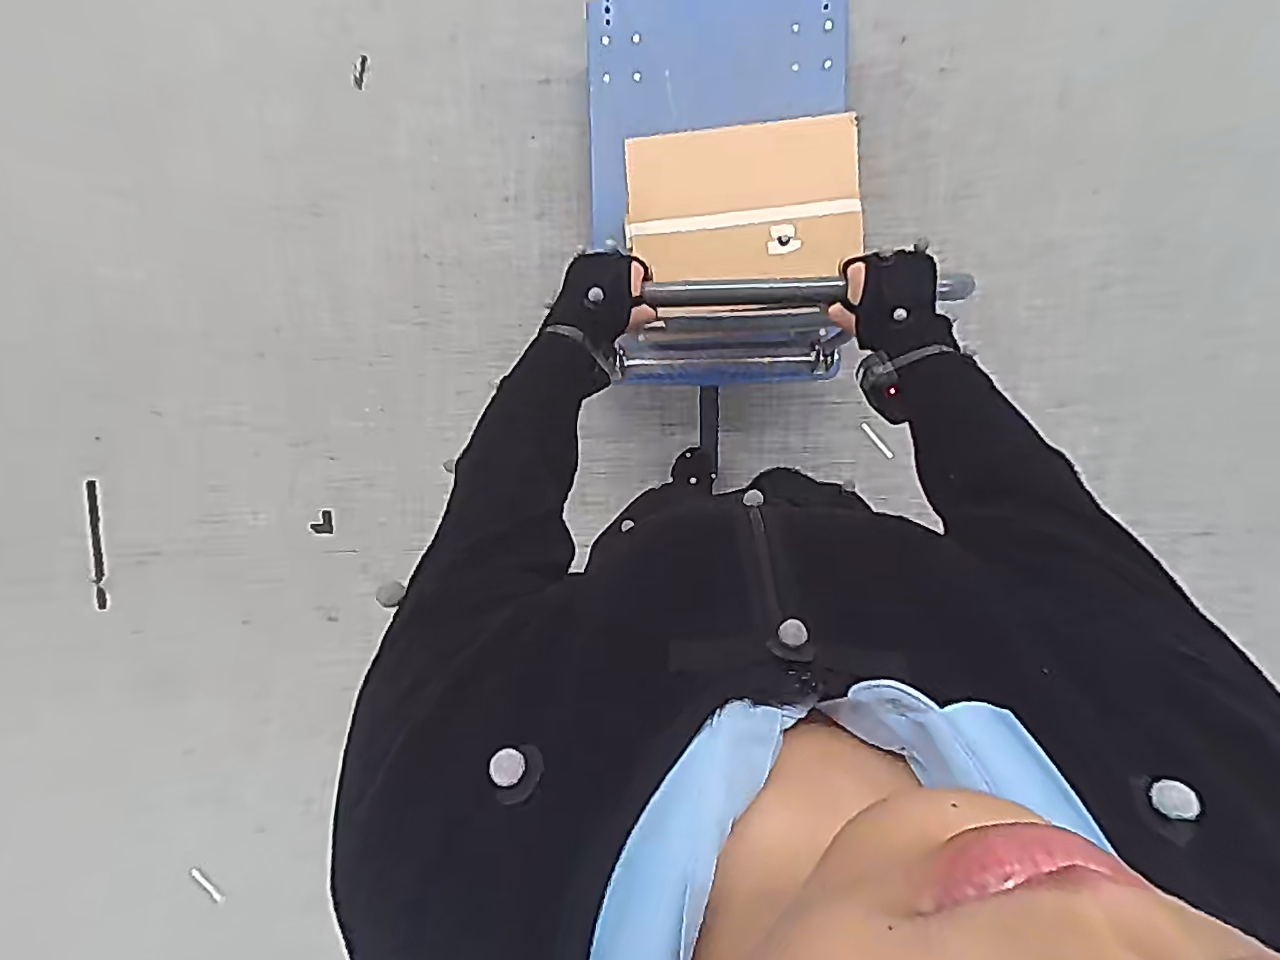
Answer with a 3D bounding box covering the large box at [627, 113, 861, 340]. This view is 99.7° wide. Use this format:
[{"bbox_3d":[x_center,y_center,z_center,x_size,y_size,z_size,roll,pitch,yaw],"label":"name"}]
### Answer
[{"bbox_3d":[0.193,-0.486,1.116,0.408,0.320,0.320,-4,96,3],"label":"large box"}]
